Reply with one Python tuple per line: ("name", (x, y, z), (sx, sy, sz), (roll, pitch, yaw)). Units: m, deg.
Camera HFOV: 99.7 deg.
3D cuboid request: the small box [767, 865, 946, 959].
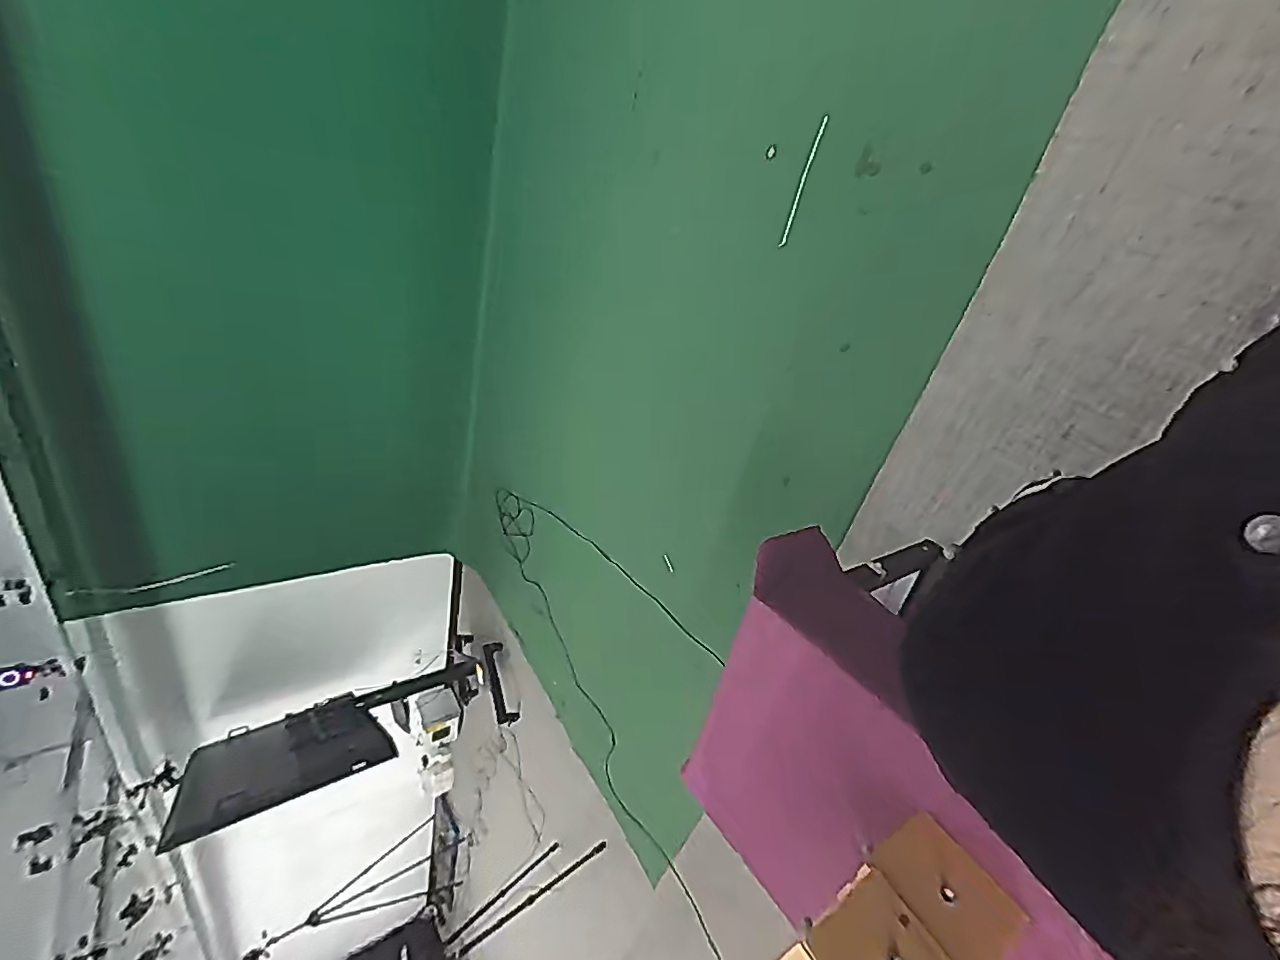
("small box", (0.283, 0.657, 0.708), (0.168, 0.176, 0.179), (45, 130, 38))
